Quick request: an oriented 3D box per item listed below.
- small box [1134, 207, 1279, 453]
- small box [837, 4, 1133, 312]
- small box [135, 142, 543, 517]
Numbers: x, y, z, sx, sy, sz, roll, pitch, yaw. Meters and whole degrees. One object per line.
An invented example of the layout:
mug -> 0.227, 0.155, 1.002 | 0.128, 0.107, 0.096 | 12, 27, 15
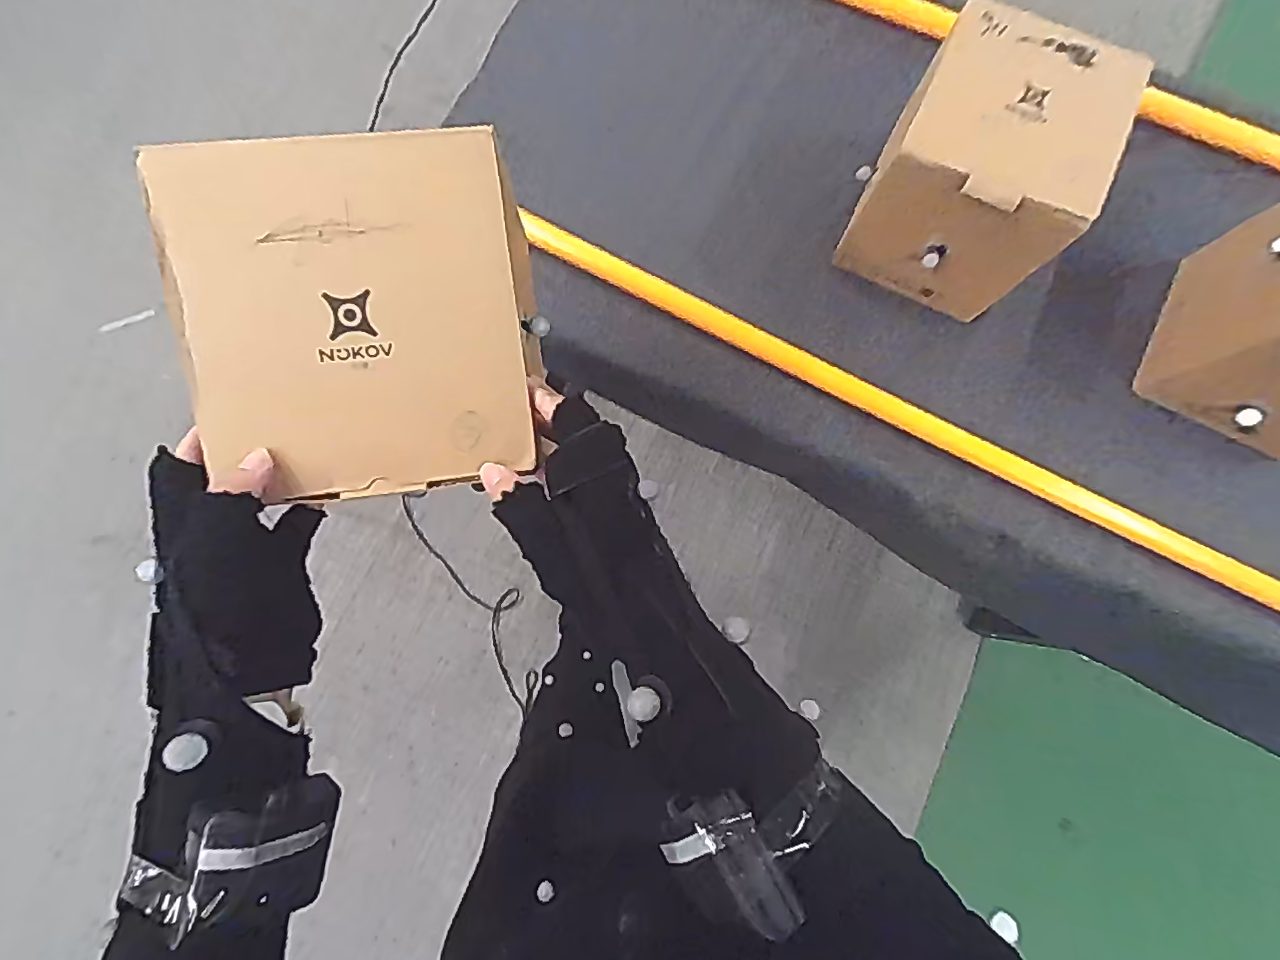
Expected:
small box -> 0.626, -0.149, 0.503 | 0.168, 0.176, 0.179 | 27, 82, 5
small box -> 0.316, -0.299, 0.535 | 0.168, 0.176, 0.179 | 23, 80, 6
small box -> -0.160, -0.085, 0.355 | 0.168, 0.176, 0.179 | -8, 97, -6
